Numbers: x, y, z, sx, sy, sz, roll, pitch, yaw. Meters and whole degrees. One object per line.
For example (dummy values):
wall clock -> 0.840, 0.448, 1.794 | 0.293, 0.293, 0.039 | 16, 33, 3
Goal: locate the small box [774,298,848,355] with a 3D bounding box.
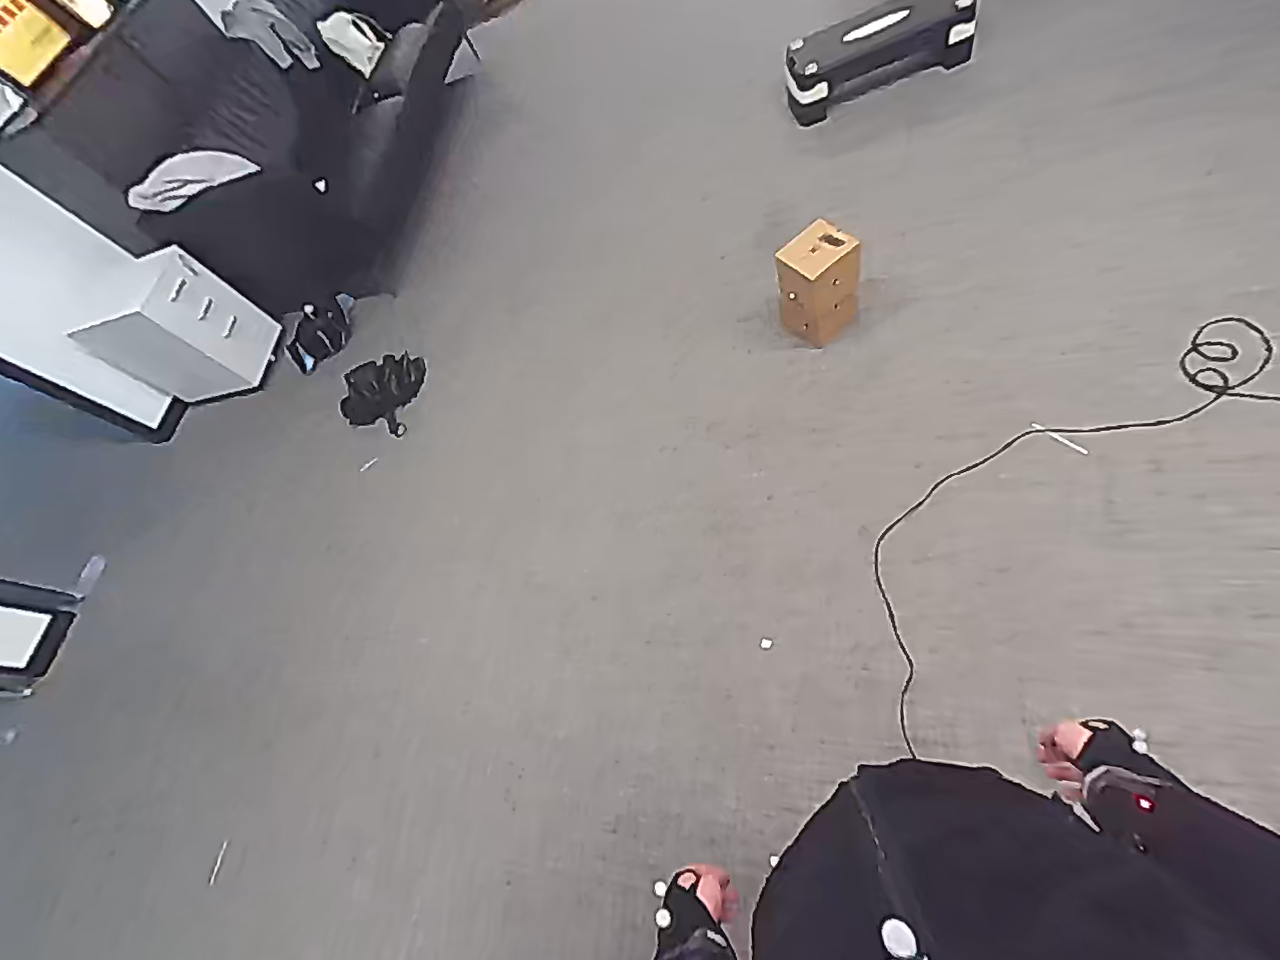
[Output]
small box -> 0.573, -0.549, 1.787 | 0.179, 0.176, 0.168 | -44, 58, -6

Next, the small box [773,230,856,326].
small box -> 0.529, -0.608, 1.639 | 0.179, 0.176, 0.168 | -39, 57, 0
